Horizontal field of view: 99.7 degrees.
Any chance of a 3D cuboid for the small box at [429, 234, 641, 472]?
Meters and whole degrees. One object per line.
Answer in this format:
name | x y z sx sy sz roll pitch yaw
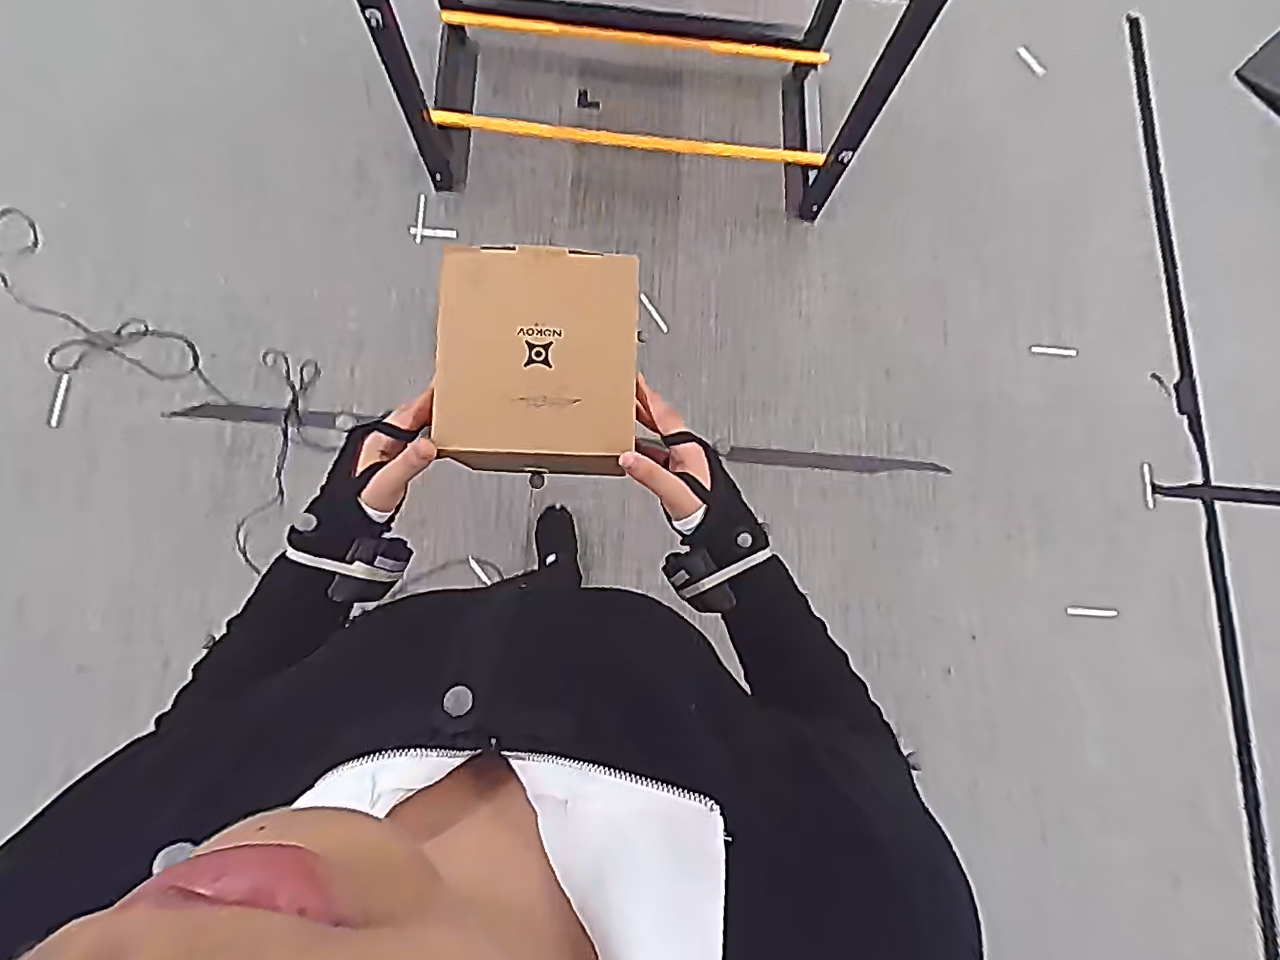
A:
small box | -0.089 -0.107 0.521 0.168 0.176 0.179 2 85 -3
